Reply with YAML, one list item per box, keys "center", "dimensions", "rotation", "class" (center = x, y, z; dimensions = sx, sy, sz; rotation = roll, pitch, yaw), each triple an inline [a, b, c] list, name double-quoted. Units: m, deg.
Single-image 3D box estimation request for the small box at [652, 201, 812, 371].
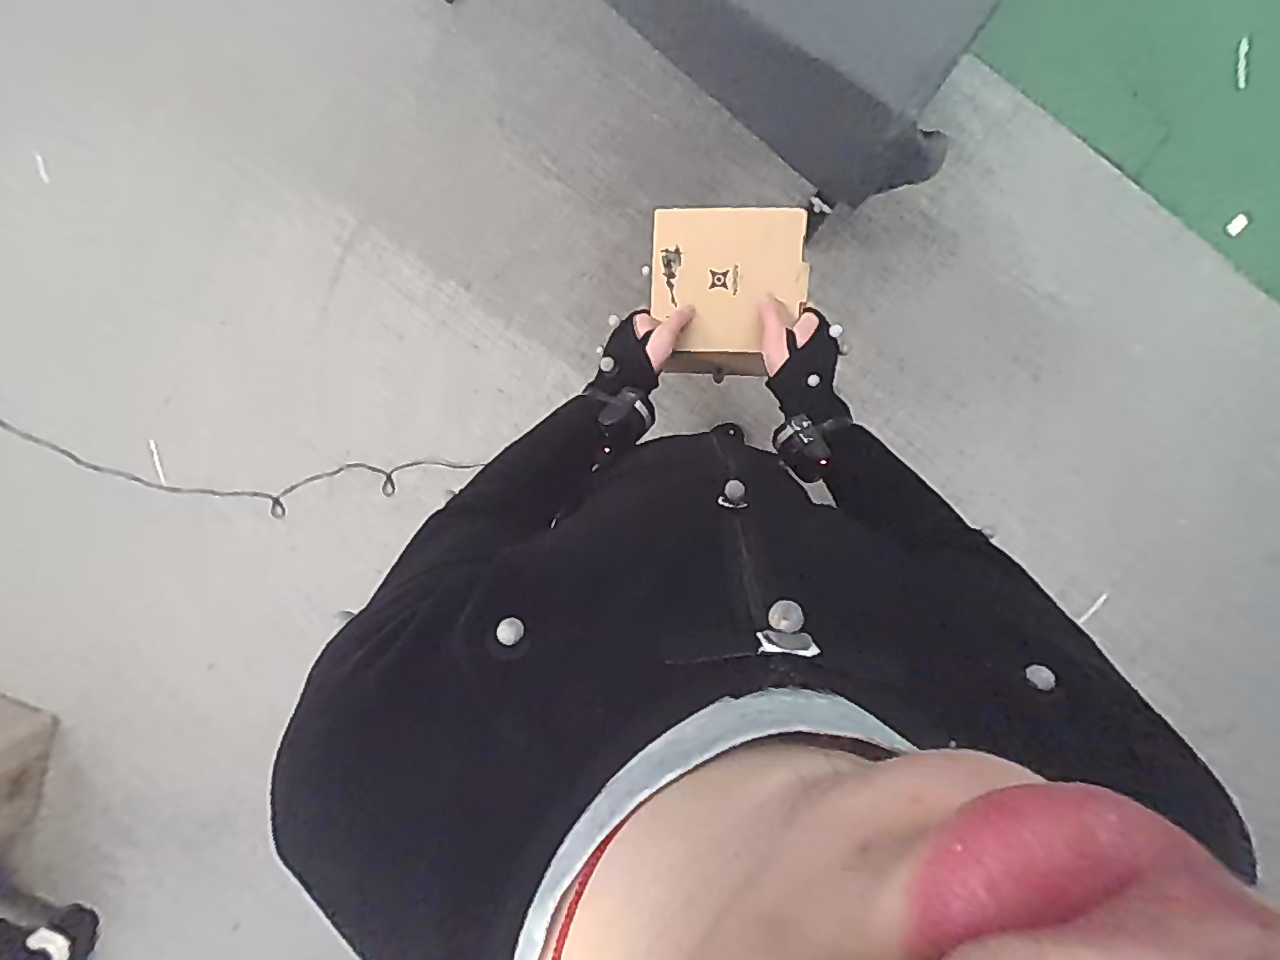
- center: [0.108, -0.236, 0.695]
  dimensions: [0.179, 0.176, 0.168]
  rotation: [3, 93, 3]
  class: "small box"
